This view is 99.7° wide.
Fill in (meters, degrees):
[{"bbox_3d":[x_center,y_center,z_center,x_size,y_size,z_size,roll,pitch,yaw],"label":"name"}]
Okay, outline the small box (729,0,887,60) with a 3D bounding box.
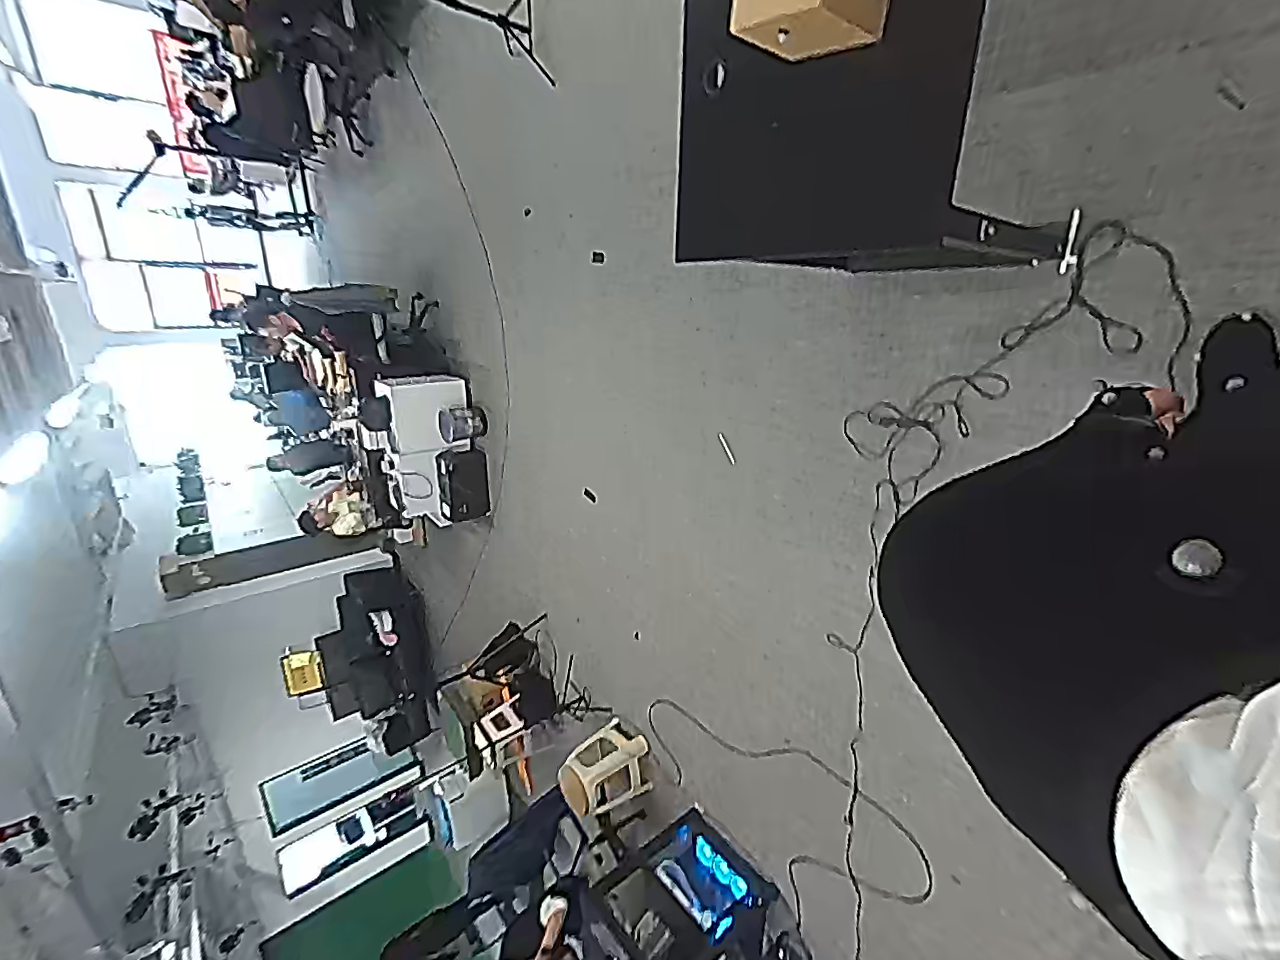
[{"bbox_3d":[0.266,-0.778,0.831,0.179,0.176,0.168,29,124,44],"label":"small box"}]
